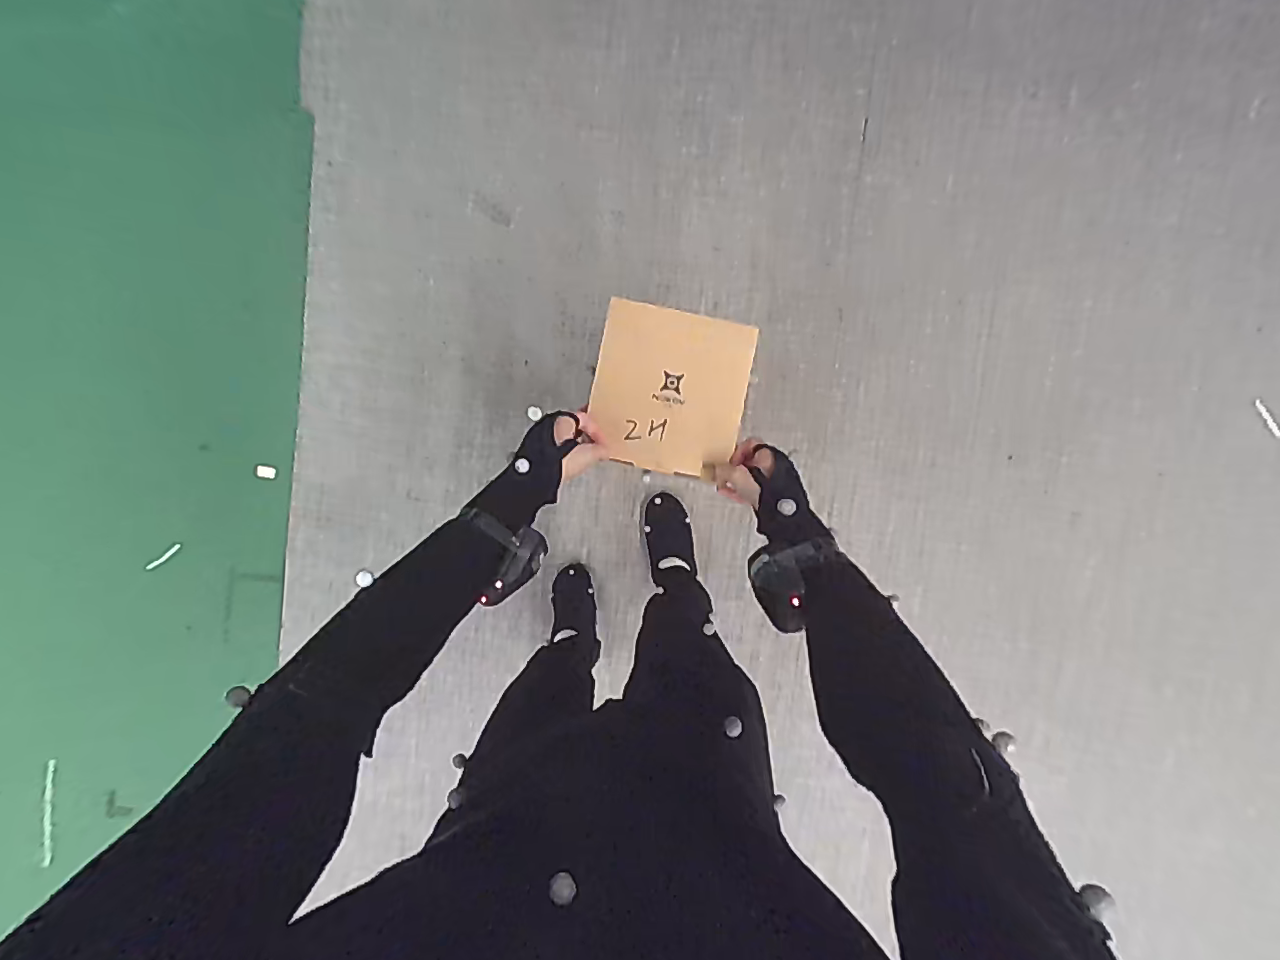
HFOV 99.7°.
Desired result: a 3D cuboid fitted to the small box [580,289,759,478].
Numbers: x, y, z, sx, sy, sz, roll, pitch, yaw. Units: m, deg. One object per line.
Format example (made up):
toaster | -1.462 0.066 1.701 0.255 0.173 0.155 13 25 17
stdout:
small box | 0.030 -0.105 0.656 0.168 0.176 0.179 12 91 -1
